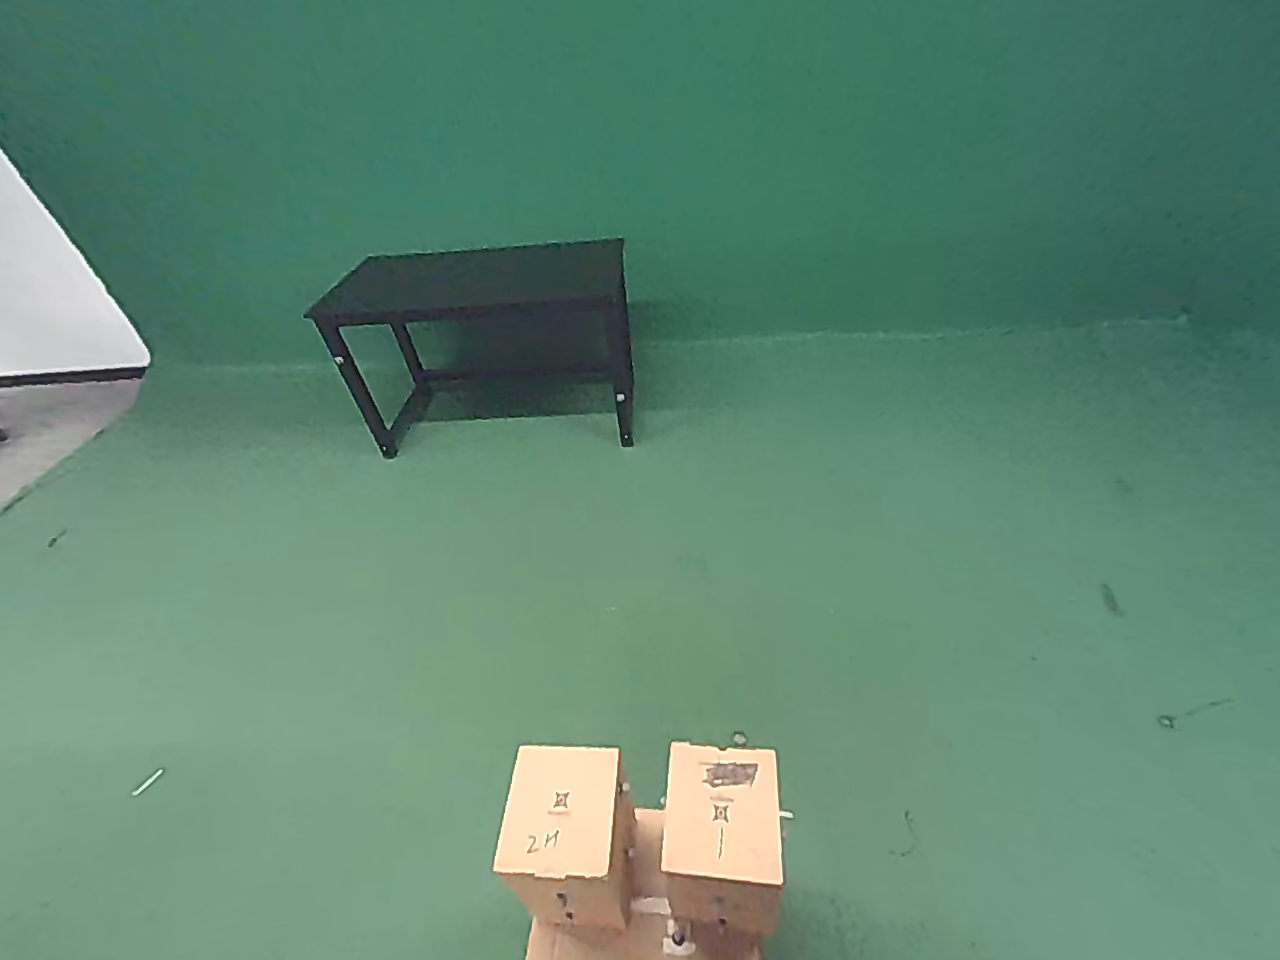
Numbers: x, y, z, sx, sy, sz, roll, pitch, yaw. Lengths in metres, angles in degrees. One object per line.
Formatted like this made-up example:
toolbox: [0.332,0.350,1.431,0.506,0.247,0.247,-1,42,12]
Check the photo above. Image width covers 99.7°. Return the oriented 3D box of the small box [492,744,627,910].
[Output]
small box: [-0.113,0.544,0.851,0.168,0.176,0.179,-1,41,6]

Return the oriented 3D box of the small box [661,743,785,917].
small box: [0.127,0.532,0.827,0.168,0.176,0.179,0,42,10]

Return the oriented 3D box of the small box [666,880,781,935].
small box: [0.146,0.657,0.934,0.179,0.176,0.168,2,41,11]

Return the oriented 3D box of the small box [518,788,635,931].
small box: [-0.101,0.666,0.961,0.168,0.176,0.179,0,41,7]
